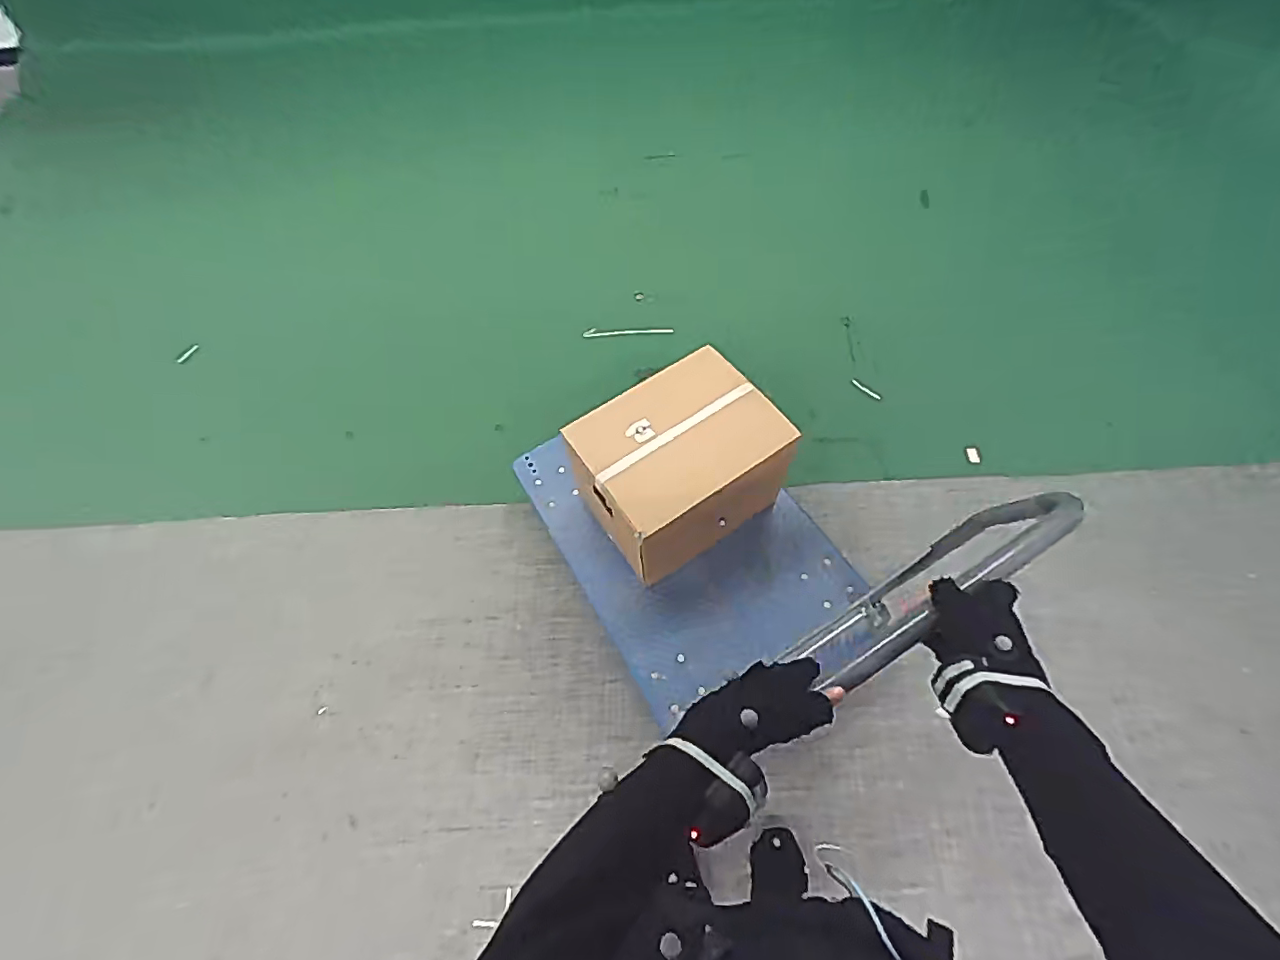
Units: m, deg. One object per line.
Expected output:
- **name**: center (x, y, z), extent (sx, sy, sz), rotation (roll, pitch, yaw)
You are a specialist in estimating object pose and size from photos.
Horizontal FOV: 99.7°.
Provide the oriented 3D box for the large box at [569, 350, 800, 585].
- **large box**: center (0.099, -0.022, 1.274), extent (0.408, 0.320, 0.320), rotation (-33, 64, -13)
